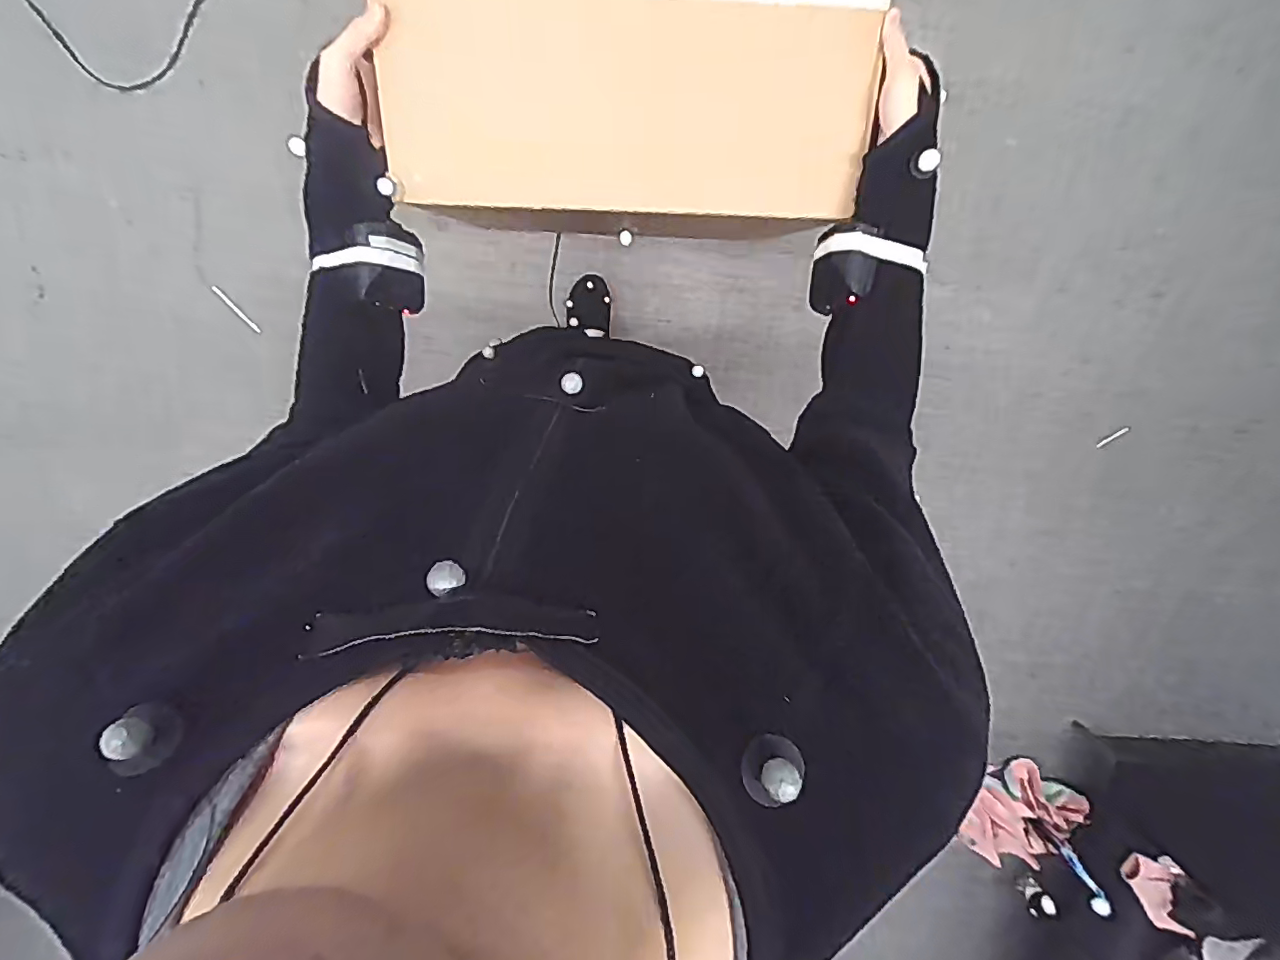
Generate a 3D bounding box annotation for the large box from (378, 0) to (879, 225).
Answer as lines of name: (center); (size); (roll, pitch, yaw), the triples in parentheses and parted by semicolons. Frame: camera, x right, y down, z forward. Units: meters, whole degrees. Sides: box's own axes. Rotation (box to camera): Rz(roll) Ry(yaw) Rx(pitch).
large box: (-0.010, -0.442, 0.560); (0.408, 0.320, 0.320); (1, 111, -3)
